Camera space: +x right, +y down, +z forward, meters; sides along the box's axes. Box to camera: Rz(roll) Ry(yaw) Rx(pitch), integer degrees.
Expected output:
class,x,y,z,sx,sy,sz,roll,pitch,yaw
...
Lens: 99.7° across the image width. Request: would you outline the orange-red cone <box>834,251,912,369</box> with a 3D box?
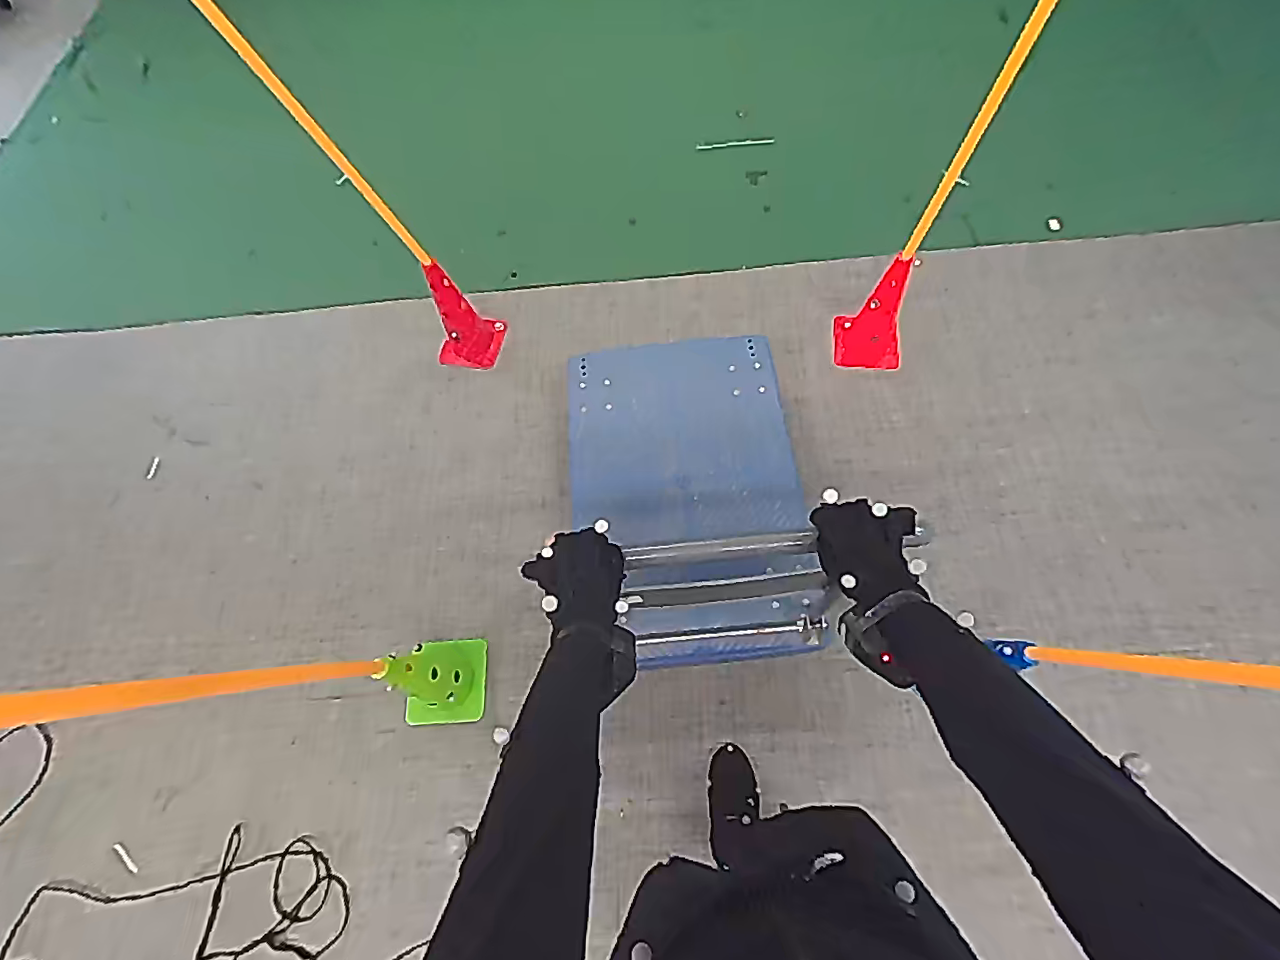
class,x,y,z,sx,sy,sz,roll,pitch,yaw
orange-red cone,0.700,-0.504,1.552,0.198,0.360,0.199,6,68,9
